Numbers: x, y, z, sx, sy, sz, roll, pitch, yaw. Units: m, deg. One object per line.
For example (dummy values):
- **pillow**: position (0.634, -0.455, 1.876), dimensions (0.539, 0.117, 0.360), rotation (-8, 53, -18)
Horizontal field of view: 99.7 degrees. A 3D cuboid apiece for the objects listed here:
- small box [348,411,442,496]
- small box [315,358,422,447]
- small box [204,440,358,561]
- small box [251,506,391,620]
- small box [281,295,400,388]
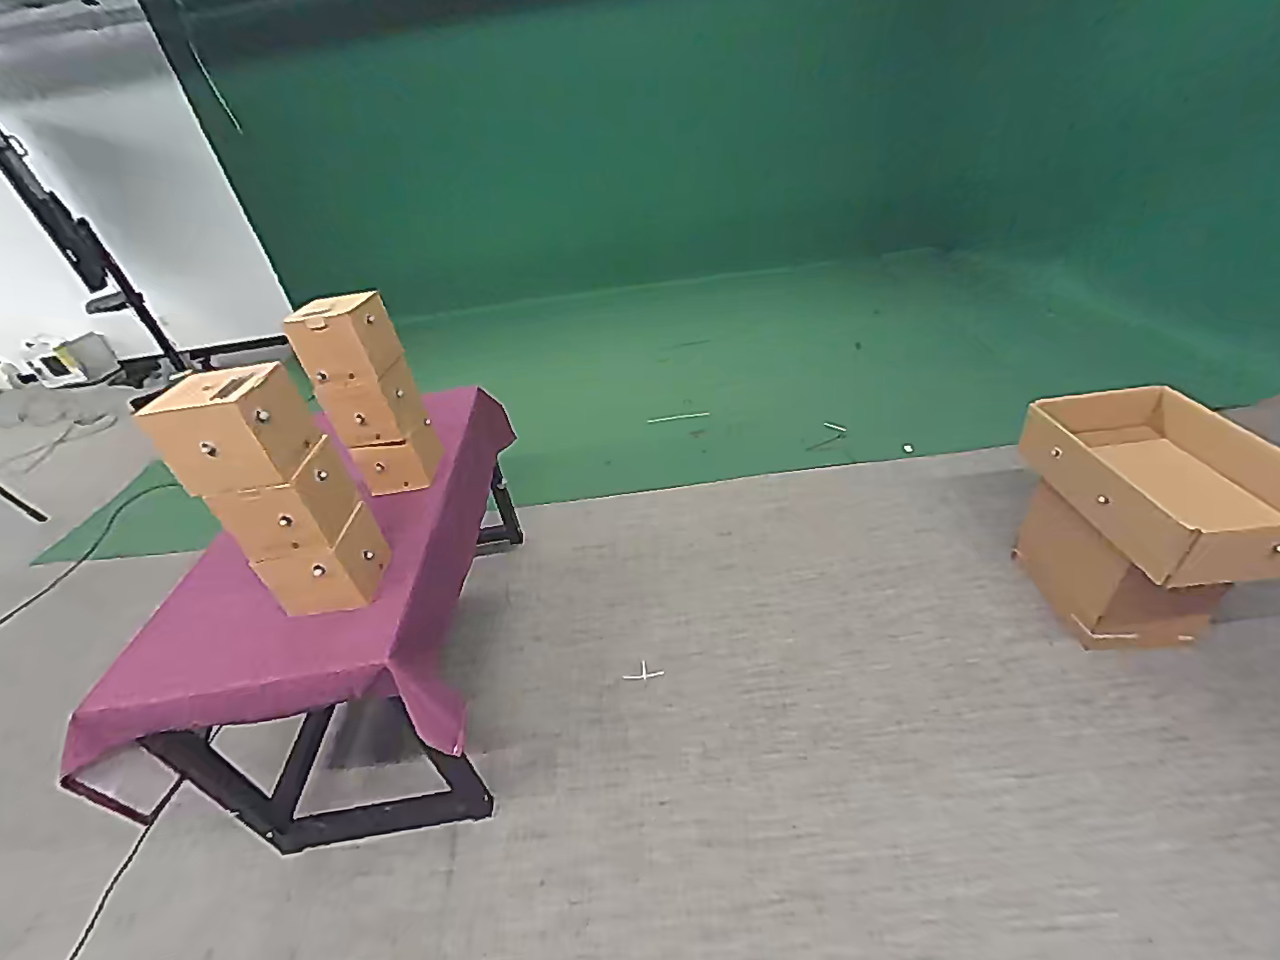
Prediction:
- **small box**: position (-0.675, -0.069, 1.516), dimensions (0.168, 0.176, 0.179), rotation (-9, 35, 1)
- **small box**: position (-0.699, -0.197, 1.416), dimensions (0.168, 0.176, 0.179), rotation (-7, 36, 4)
- **small box**: position (-0.696, 0.046, 1.078), dimensions (0.168, 0.176, 0.179), rotation (-8, 35, 1)
- **small box**: position (-0.672, 0.180, 1.168), dimensions (0.179, 0.176, 0.168), rotation (-8, 35, 2)
- **small box**: position (-0.721, -0.334, 1.328), dimensions (0.168, 0.176, 0.179), rotation (-7, 34, 5)
